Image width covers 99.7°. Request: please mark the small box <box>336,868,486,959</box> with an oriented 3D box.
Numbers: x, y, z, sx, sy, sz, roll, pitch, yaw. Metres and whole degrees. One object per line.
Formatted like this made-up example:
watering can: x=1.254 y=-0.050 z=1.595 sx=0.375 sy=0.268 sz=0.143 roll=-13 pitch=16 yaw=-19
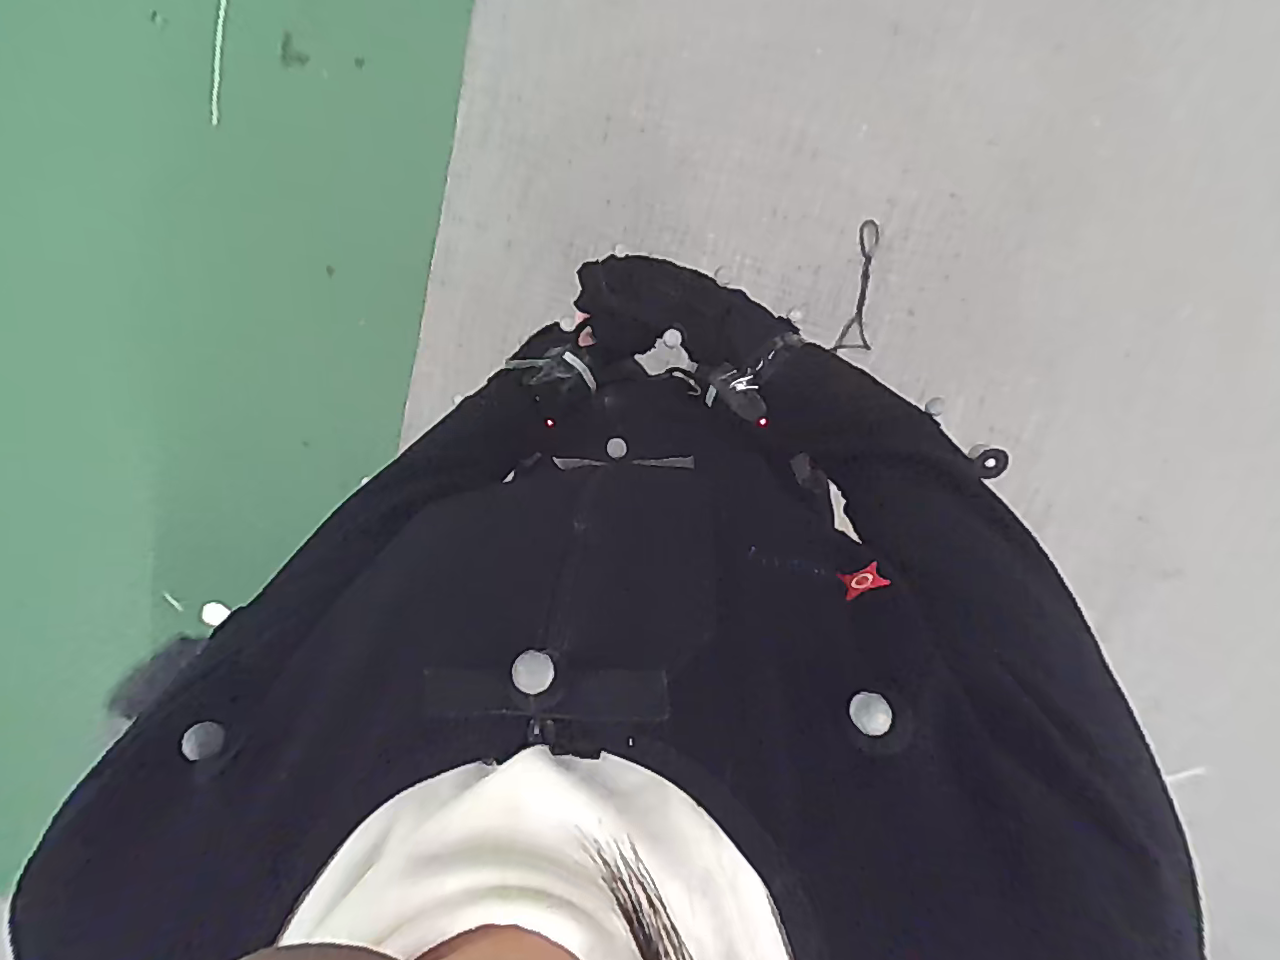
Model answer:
small box: x=-0.370 y=0.774 z=0.864 sx=0.179 sy=0.176 sz=0.168 roll=19 pitch=105 yaw=7
